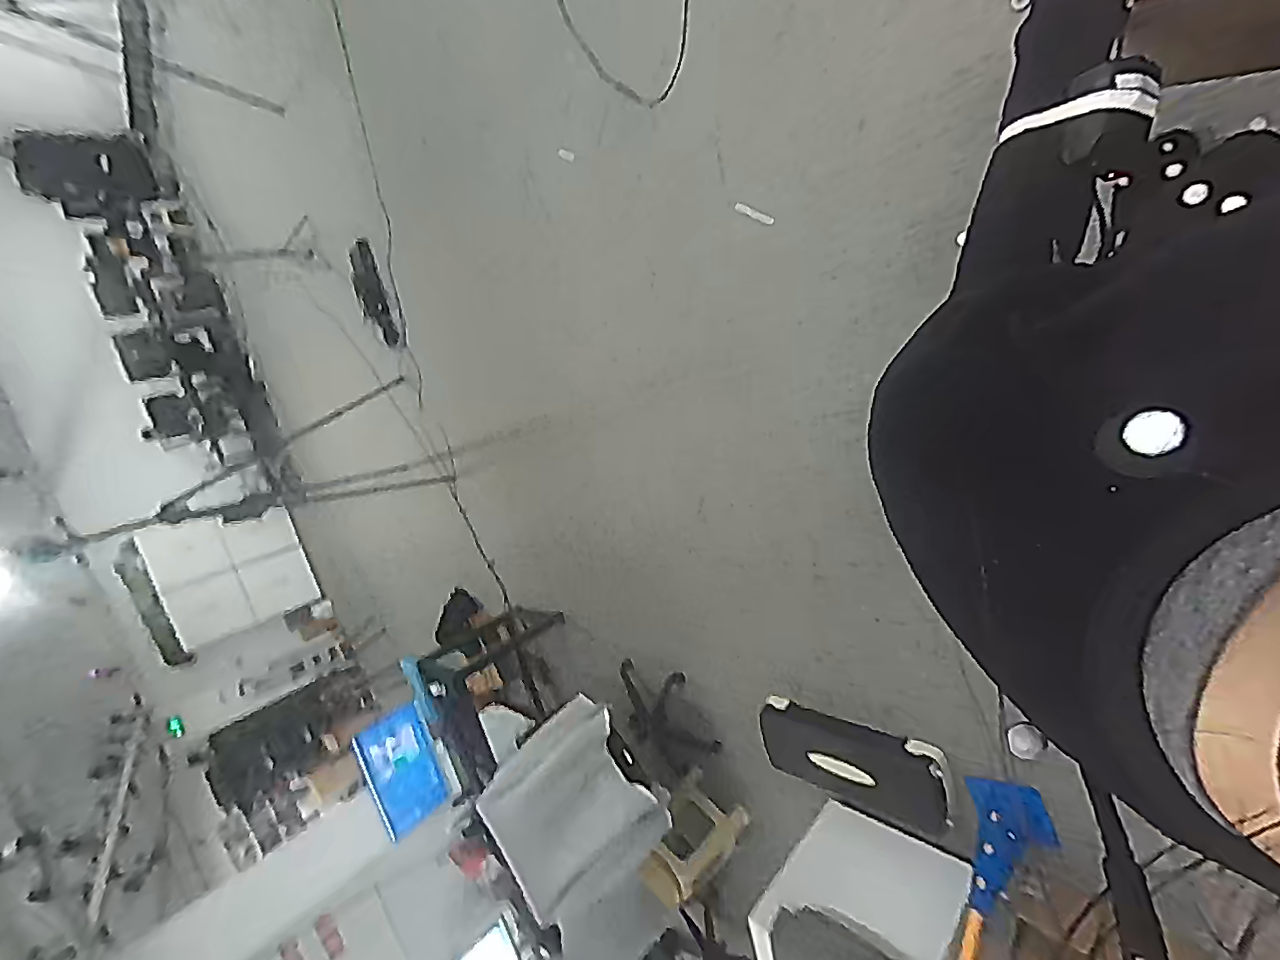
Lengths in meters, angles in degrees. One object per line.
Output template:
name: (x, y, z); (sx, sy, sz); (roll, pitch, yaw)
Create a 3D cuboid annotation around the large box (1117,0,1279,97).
large box: (0.561, -0.460, 0.295); (0.408, 0.320, 0.320); (13, 116, 36)
